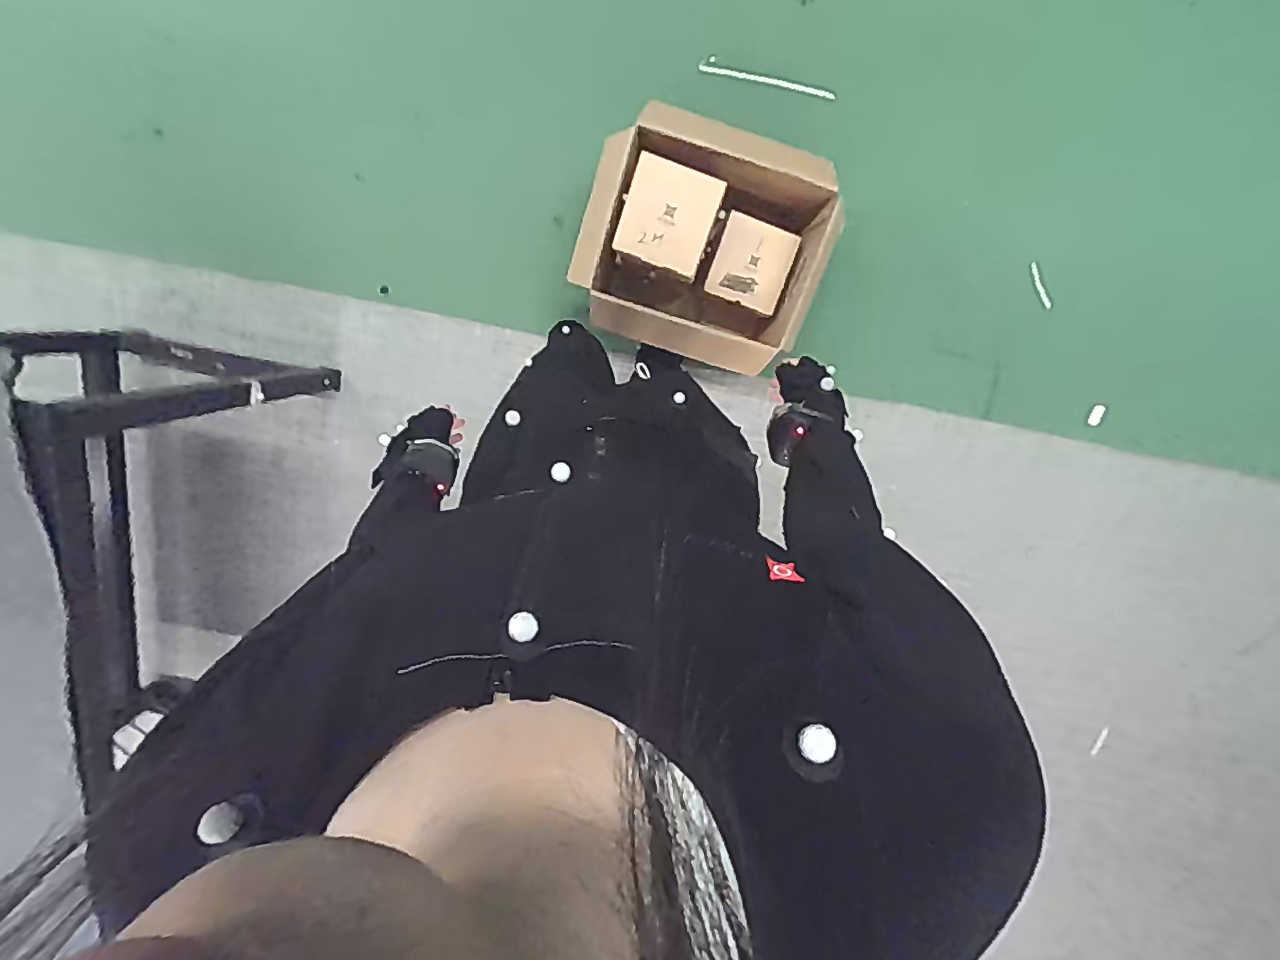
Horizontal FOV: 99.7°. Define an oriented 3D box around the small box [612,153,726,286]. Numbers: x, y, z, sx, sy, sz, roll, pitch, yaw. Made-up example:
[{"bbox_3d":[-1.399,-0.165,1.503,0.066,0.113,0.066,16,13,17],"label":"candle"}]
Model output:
[{"bbox_3d":[0.055,-0.504,1.074,0.168,0.176,0.179,21,106,-2],"label":"small box"}]
